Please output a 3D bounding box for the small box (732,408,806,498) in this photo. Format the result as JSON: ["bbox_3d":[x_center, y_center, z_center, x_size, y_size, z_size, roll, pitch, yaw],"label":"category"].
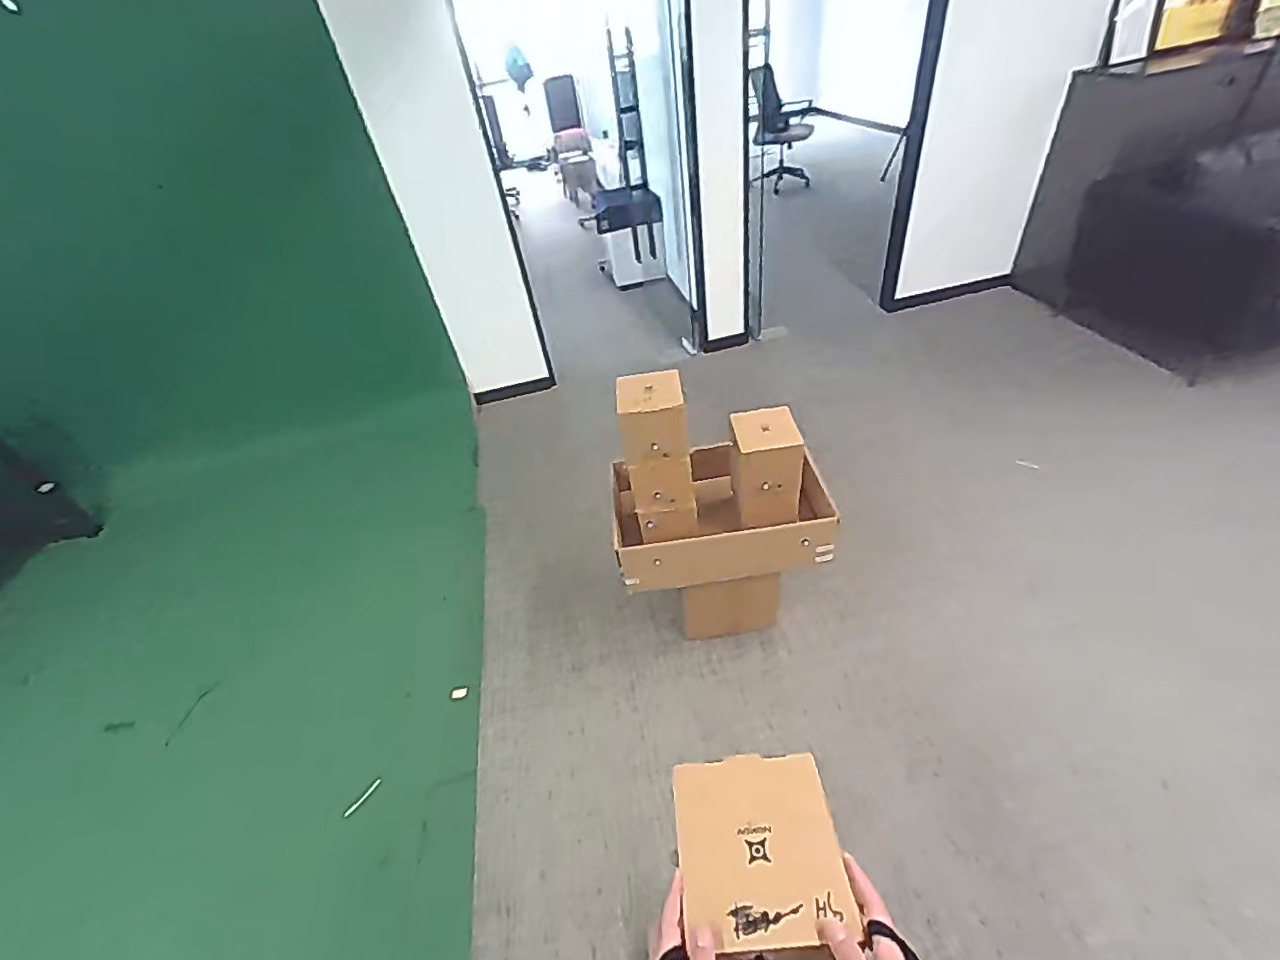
[{"bbox_3d":[0.351,-0.074,1.503,0.168,0.176,0.179,-8,41,3],"label":"small box"}]

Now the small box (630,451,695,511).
[{"bbox_3d":[0.060,-0.035,1.519,0.168,0.176,0.179,-7,41,3],"label":"small box"}]

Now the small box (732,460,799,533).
[{"bbox_3d":[0.371,0.044,1.613,0.168,0.176,0.179,-7,40,3],"label":"small box"}]

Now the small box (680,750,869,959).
[{"bbox_3d":[0.135,0.435,0.605,0.168,0.176,0.179,-7,35,4],"label":"small box"}]

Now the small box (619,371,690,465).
[{"bbox_3d":[0.038,-0.161,1.414,0.168,0.176,0.179,-7,41,4],"label":"small box"}]
